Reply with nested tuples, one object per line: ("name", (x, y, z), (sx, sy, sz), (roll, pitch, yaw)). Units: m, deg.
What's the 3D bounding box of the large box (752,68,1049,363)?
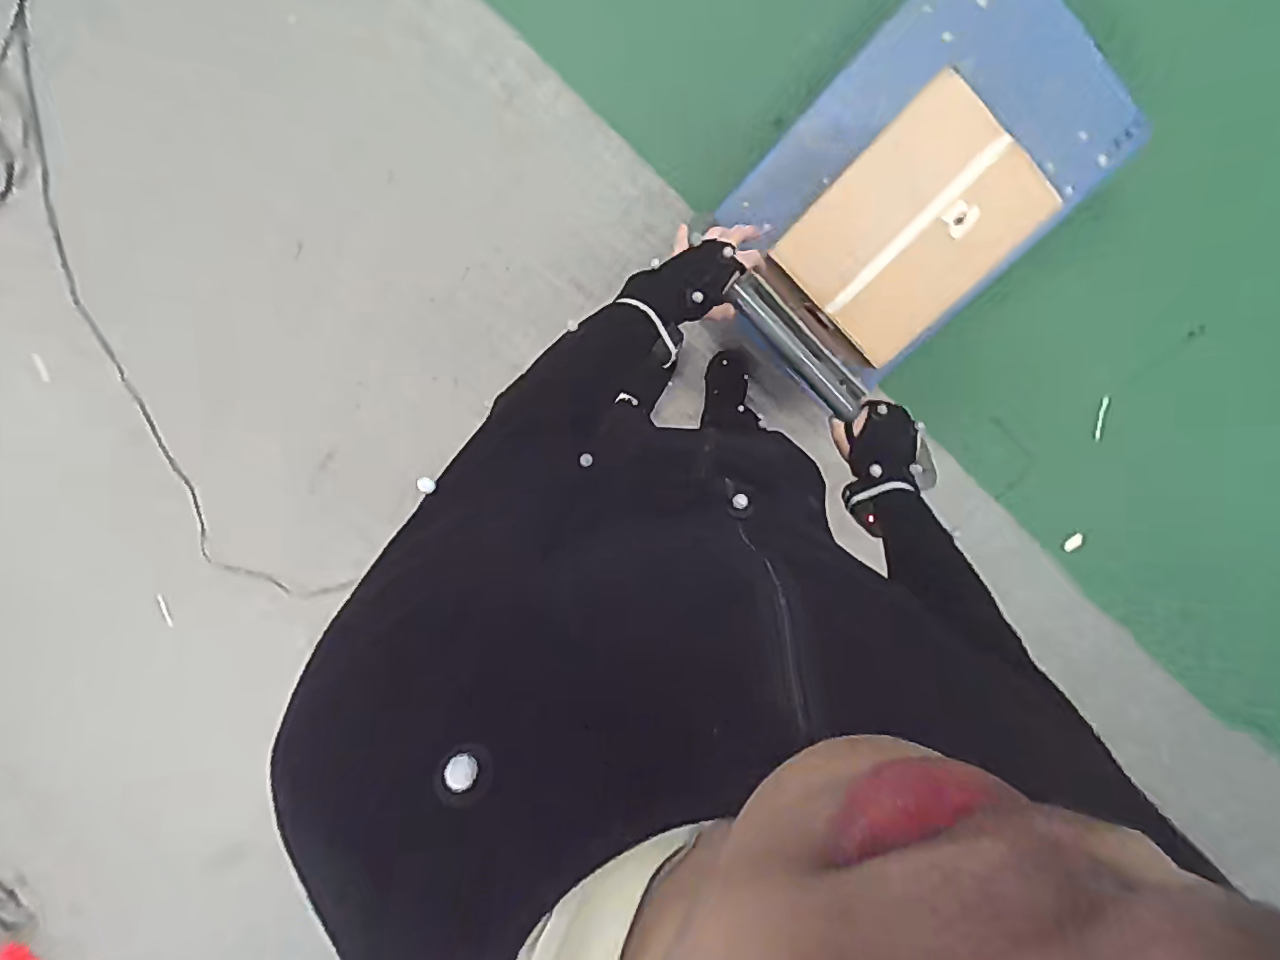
("large box", (0.493, -0.502, 1.125), (0.320, 0.320, 0.408), (44, 105, -9))
